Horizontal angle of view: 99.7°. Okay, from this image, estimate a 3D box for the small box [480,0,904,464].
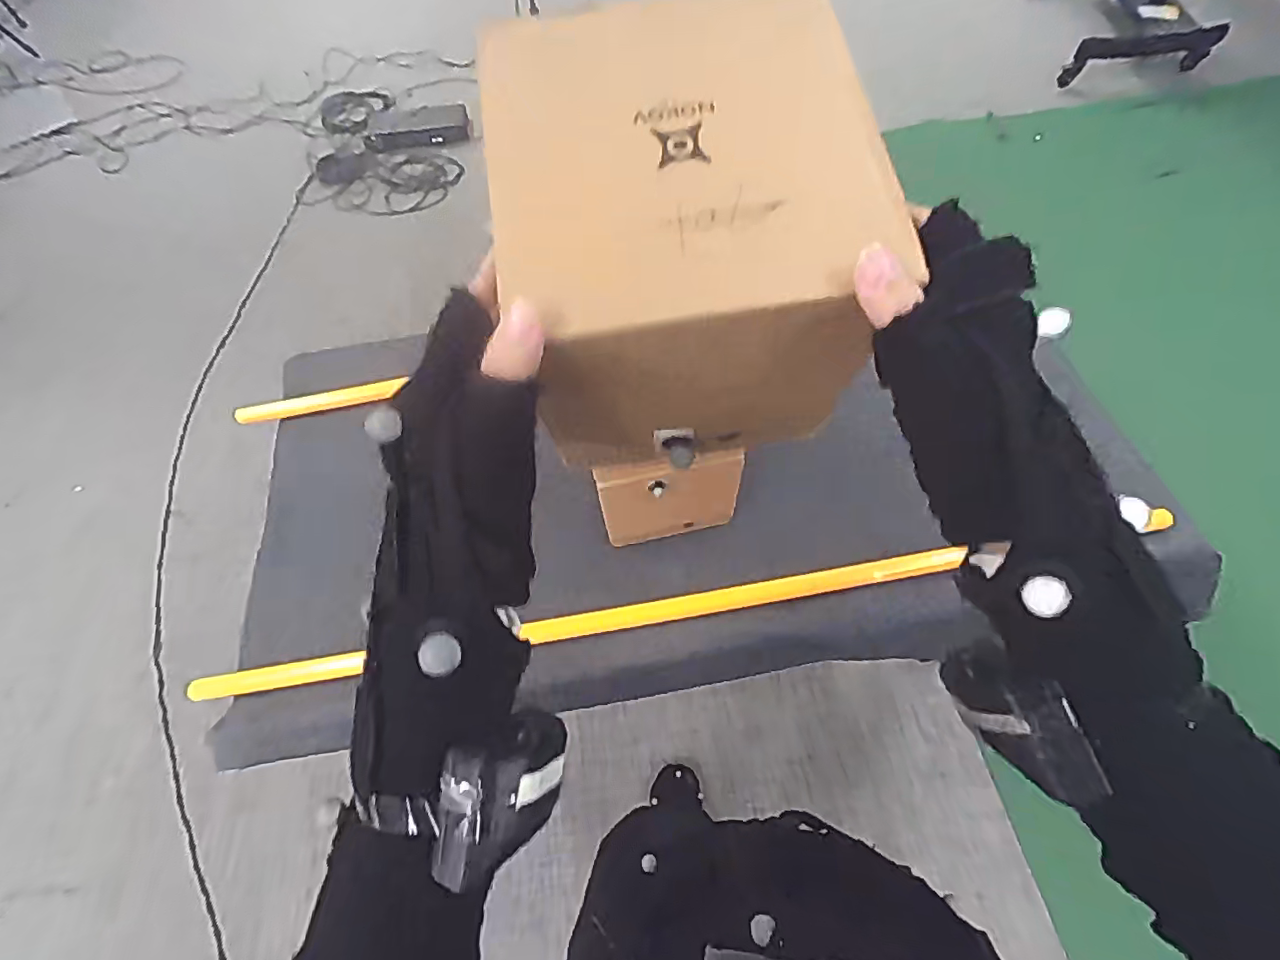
[{"bbox_3d":[0.016,-0.125,0.313,0.168,0.176,0.179,-9,73,0],"label":"small box"}]

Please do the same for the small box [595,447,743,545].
[{"bbox_3d":[0.023,-0.039,0.700,0.168,0.176,0.179,-13,60,-2],"label":"small box"}]

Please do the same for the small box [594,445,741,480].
[{"bbox_3d":[0.013,-0.125,0.560,0.168,0.176,0.179,-11,61,-2],"label":"small box"}]
